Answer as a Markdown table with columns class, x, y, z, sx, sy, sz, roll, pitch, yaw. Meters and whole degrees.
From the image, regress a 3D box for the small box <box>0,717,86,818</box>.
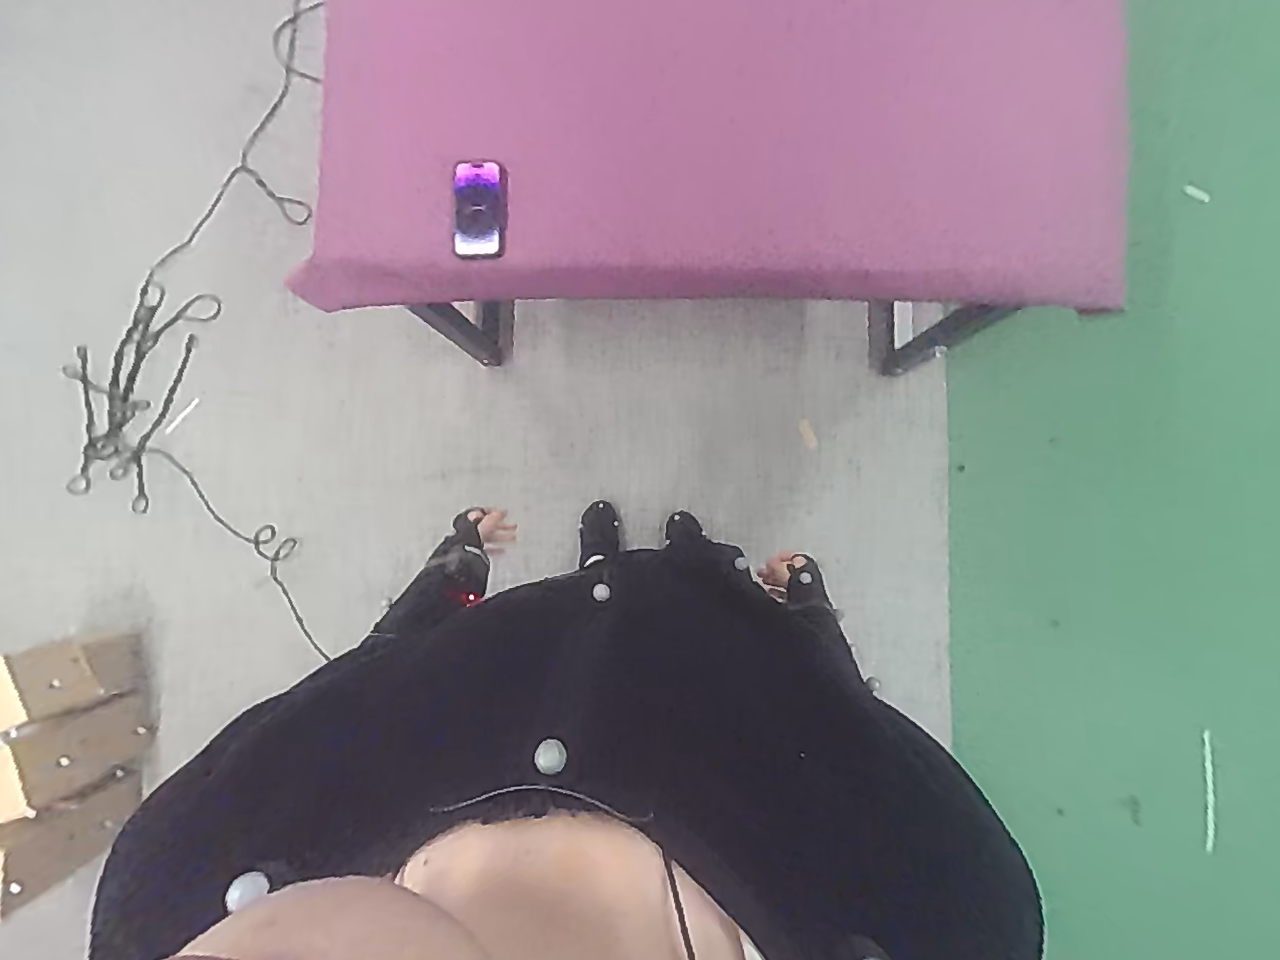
| class | x | y | z | sx | sy | sz | roll | pitch | yaw |
| --- | --- | --- | --- | --- | --- | --- | --- | --- | --- |
| small box | -1.507 | 0.702 | 1.310 | 0.179 | 0.176 | 0.168 | -17 | 87 | 2 |

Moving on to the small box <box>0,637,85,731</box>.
| class | x | y | z | sx | sy | sz | roll | pitch | yaw |
| --- | --- | --- | --- | --- | --- | --- | --- | --- | --- |
| small box | -1.519 | 0.505 | 1.314 | 0.179 | 0.176 | 0.168 | -25 | 87 | 2 |

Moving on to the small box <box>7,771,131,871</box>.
| class | x | y | z | sx | sy | sz | roll | pitch | yaw |
| --- | --- | --- | --- | --- | --- | --- | --- | --- | --- |
| small box | -1.537 | 0.915 | 1.466 | 0.168 | 0.176 | 0.179 | 0 | 89 | 3 |
